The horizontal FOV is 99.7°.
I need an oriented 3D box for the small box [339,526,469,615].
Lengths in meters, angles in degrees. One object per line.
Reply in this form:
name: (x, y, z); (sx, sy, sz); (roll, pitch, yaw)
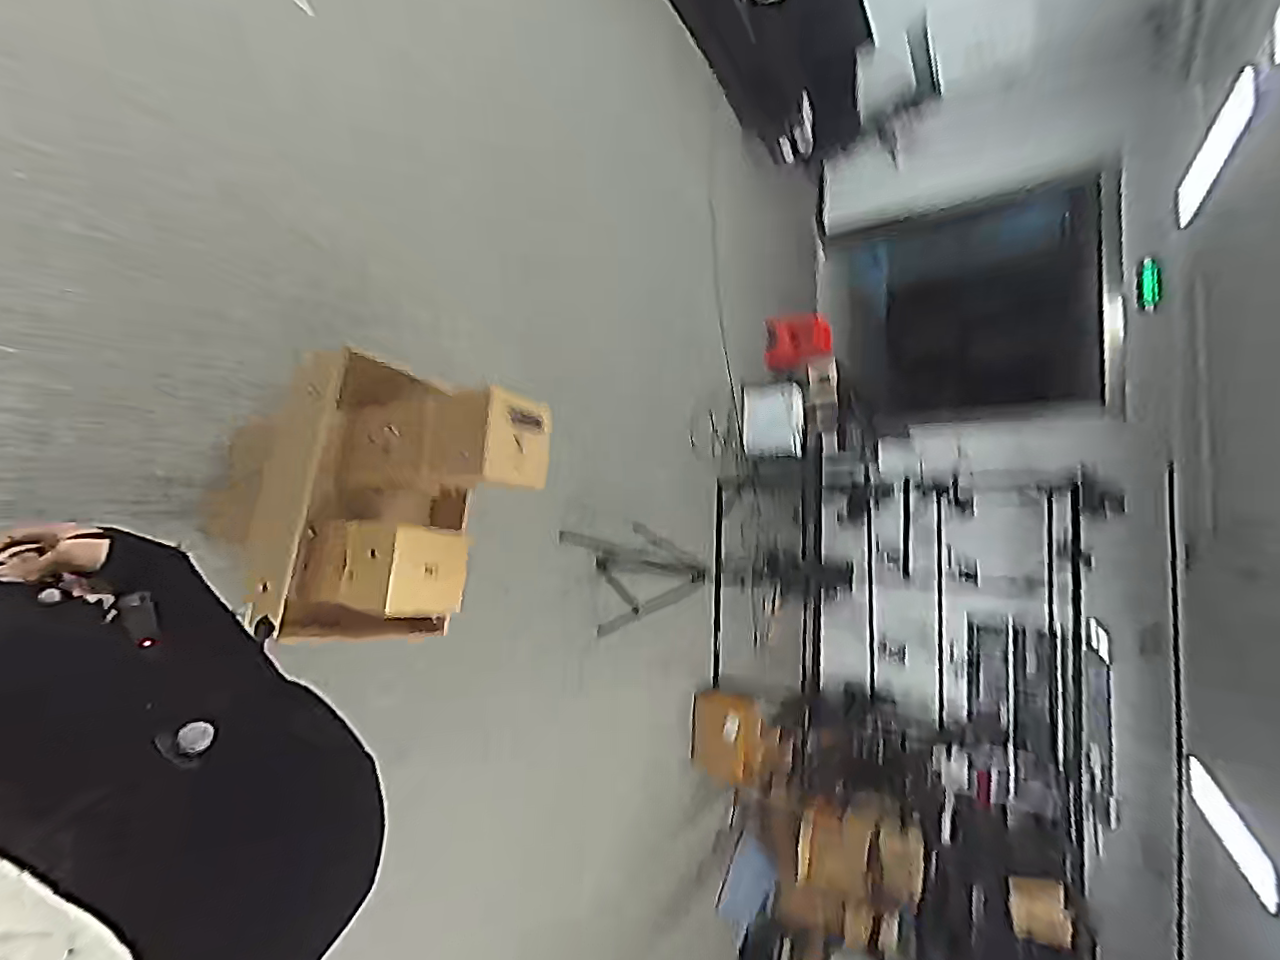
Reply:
small box: (-0.490, 0.188, 1.125); (0.179, 0.176, 0.168); (21, 73, -56)

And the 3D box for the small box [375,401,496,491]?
small box: (-0.446, -0.067, 1.190); (0.179, 0.176, 0.168); (14, 76, -56)

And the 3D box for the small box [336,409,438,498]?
small box: (-0.586, -0.057, 1.277); (0.168, 0.176, 0.179); (18, 76, -55)

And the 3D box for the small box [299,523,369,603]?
small box: (-0.628, 0.187, 1.212); (0.179, 0.176, 0.168); (19, 74, -56)
